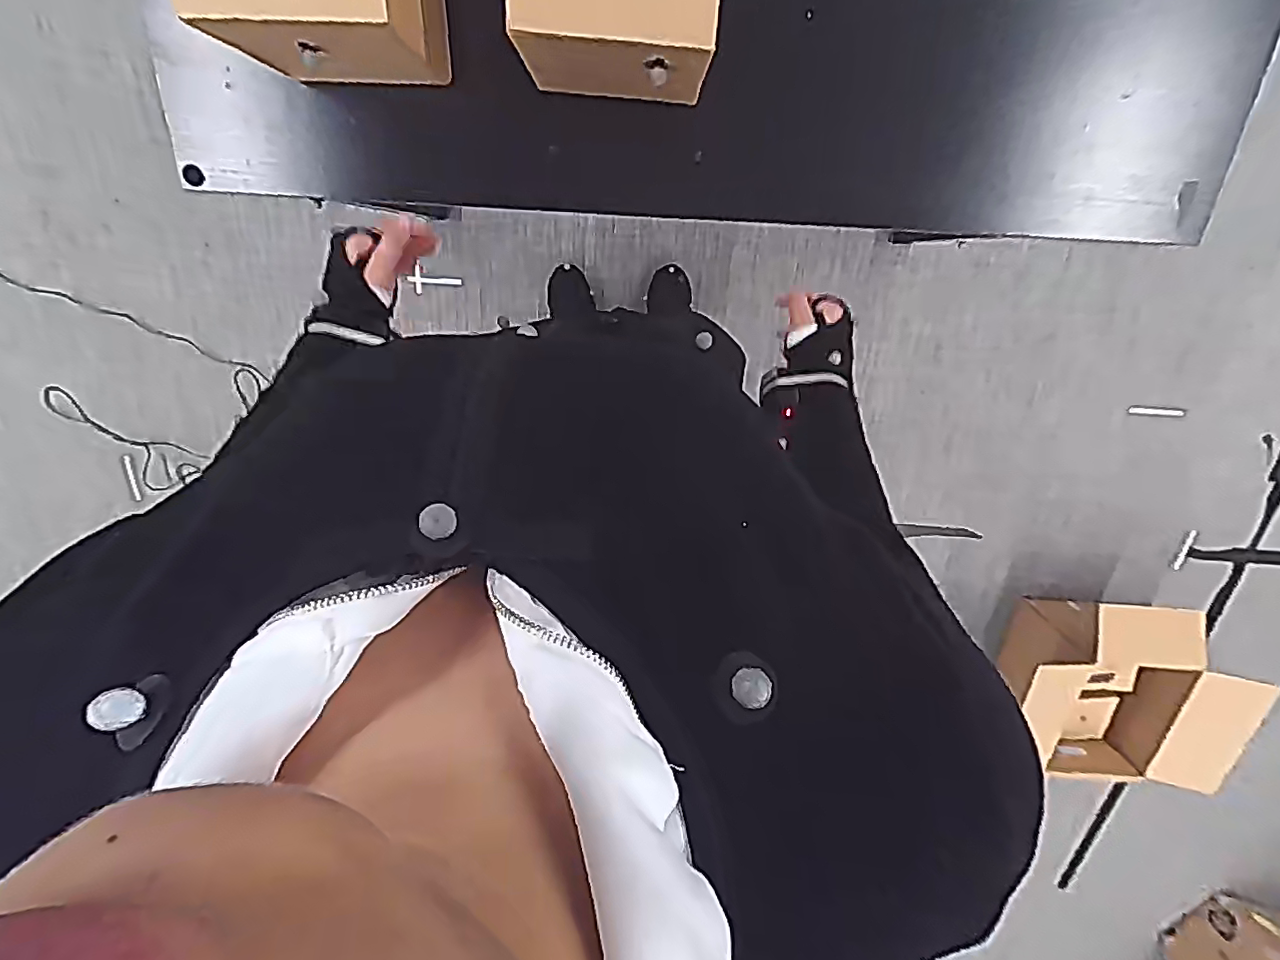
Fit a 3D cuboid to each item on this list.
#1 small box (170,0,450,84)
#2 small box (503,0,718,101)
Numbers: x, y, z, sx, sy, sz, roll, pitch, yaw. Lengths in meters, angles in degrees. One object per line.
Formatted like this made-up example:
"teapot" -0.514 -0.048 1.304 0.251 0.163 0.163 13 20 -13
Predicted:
"small box" -0.293 -0.481 0.488 0.179 0.176 0.168 1 112 0
"small box" -0.020 -0.468 0.493 0.179 0.176 0.168 4 111 -1
